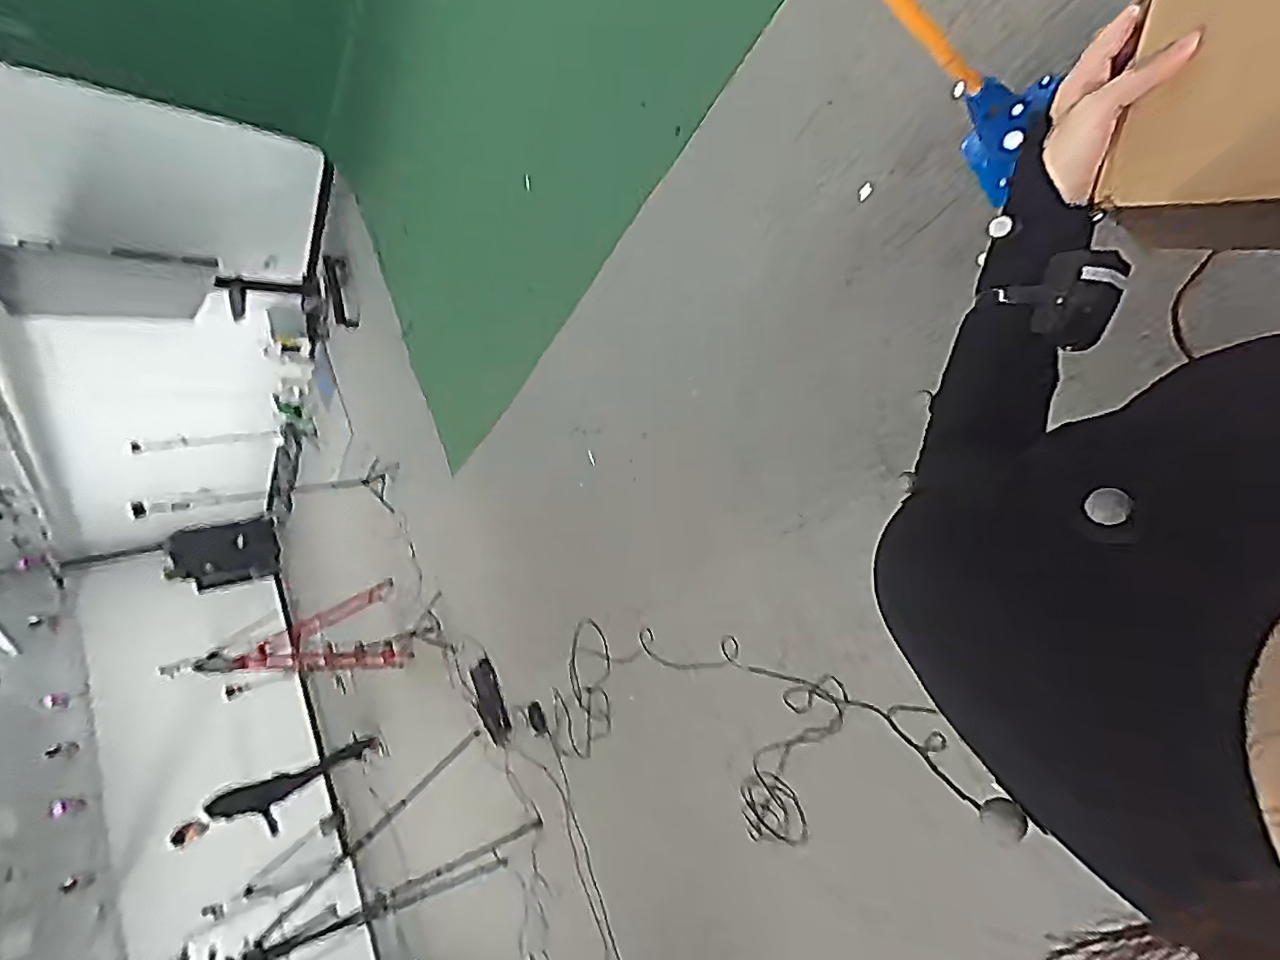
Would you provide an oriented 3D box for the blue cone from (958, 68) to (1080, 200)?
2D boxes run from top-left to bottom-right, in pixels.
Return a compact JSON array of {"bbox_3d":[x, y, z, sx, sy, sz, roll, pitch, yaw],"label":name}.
[{"bbox_3d":[0.733,-0.740,1.105,0.193,0.380,0.192,-30,75,45],"label":"blue cone"}]

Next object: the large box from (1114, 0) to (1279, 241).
[{"bbox_3d":[0.595,-0.330,0.317,0.408,0.320,0.320,22,117,41],"label":"large box"}]
